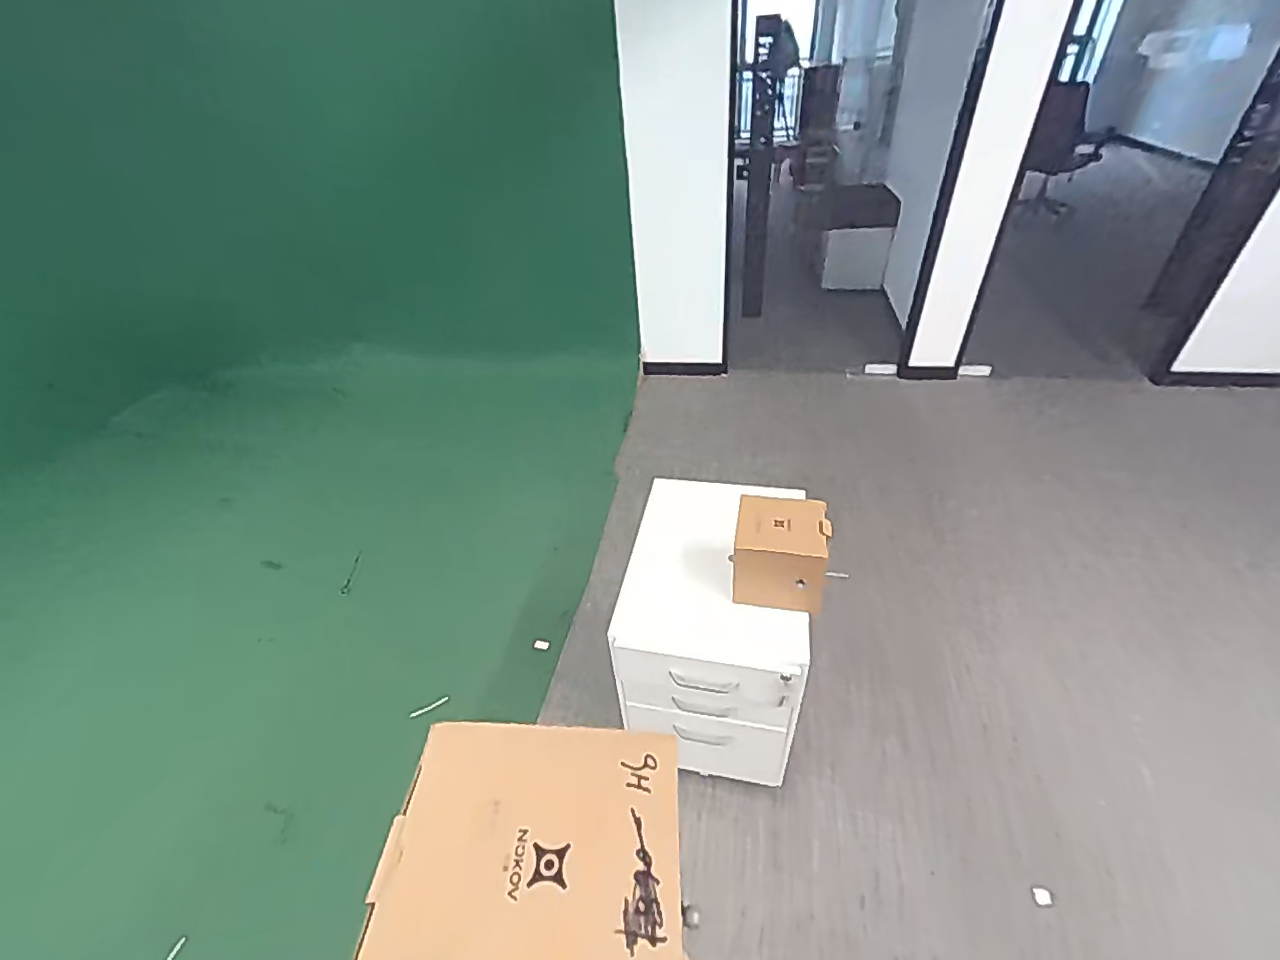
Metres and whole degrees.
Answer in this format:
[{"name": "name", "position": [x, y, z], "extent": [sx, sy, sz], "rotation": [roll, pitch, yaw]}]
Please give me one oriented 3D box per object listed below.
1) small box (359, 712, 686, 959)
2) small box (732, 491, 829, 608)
[{"name": "small box", "position": [-0.063, 0.284, 0.376], "extent": [0.179, 0.176, 0.168], "rotation": [3, 40, 0]}, {"name": "small box", "position": [0.287, 0.144, 1.117], "extent": [0.179, 0.176, 0.168], "rotation": [4, 39, 13]}]
